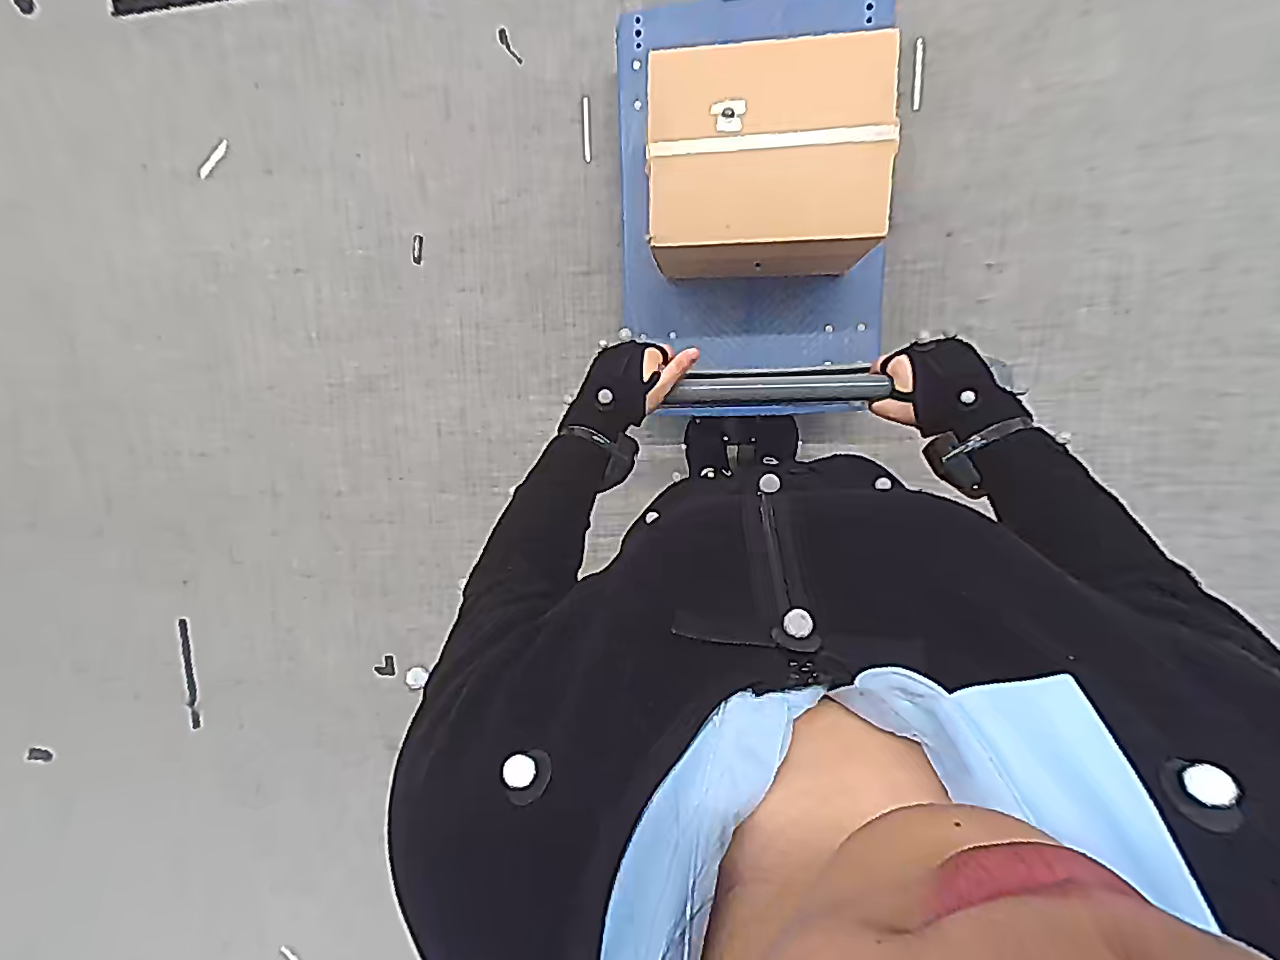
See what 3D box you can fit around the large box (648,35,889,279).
[{"bbox_3d":[0.237,-0.595,1.073,0.408,0.320,0.320,1,99,9],"label":"large box"}]
